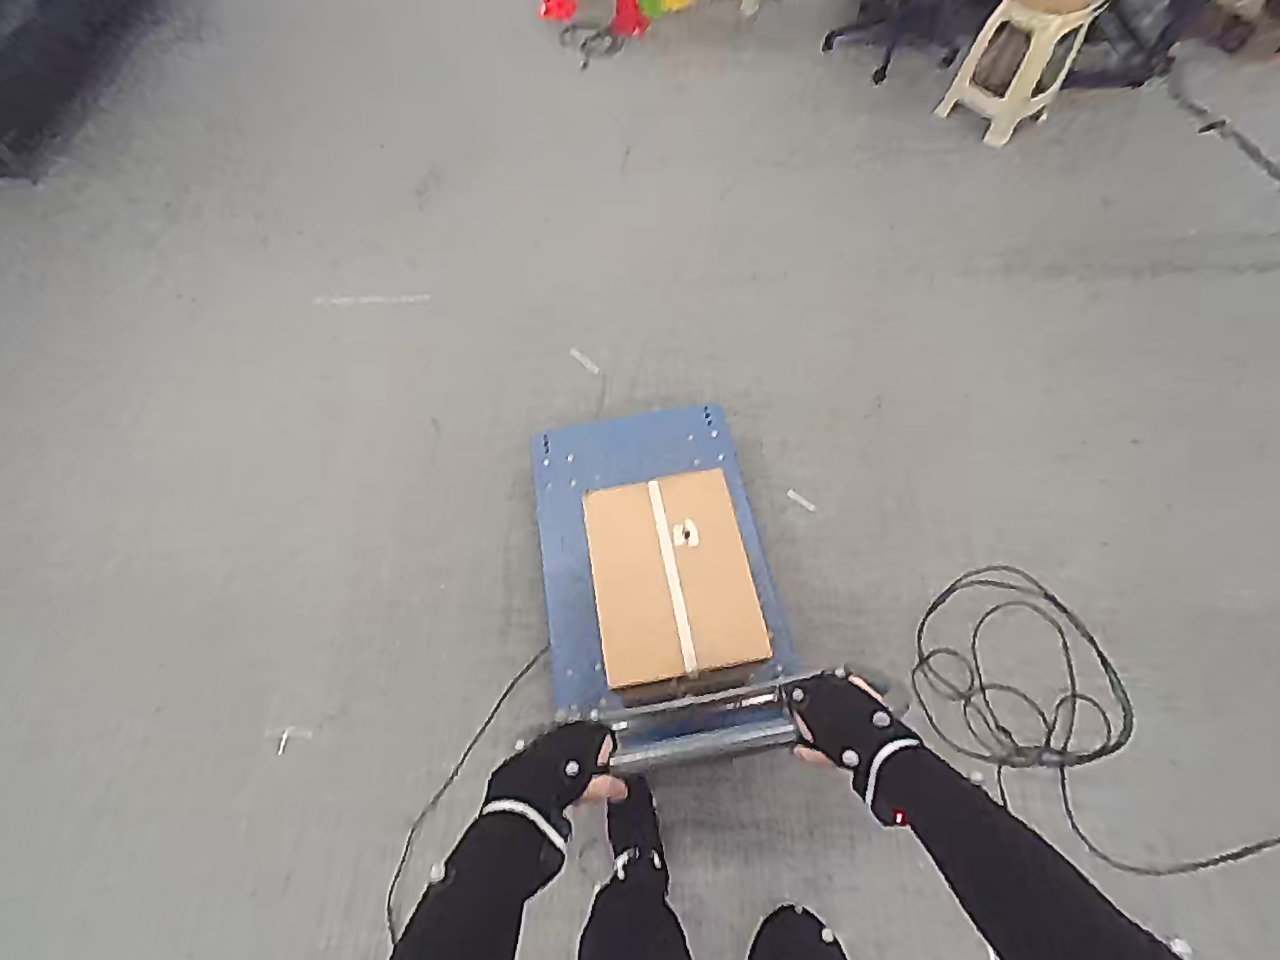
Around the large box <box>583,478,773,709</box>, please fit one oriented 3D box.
[{"bbox_3d":[0.071,0.263,1.218,0.320,0.320,0.408,-10,62,-3],"label":"large box"}]
